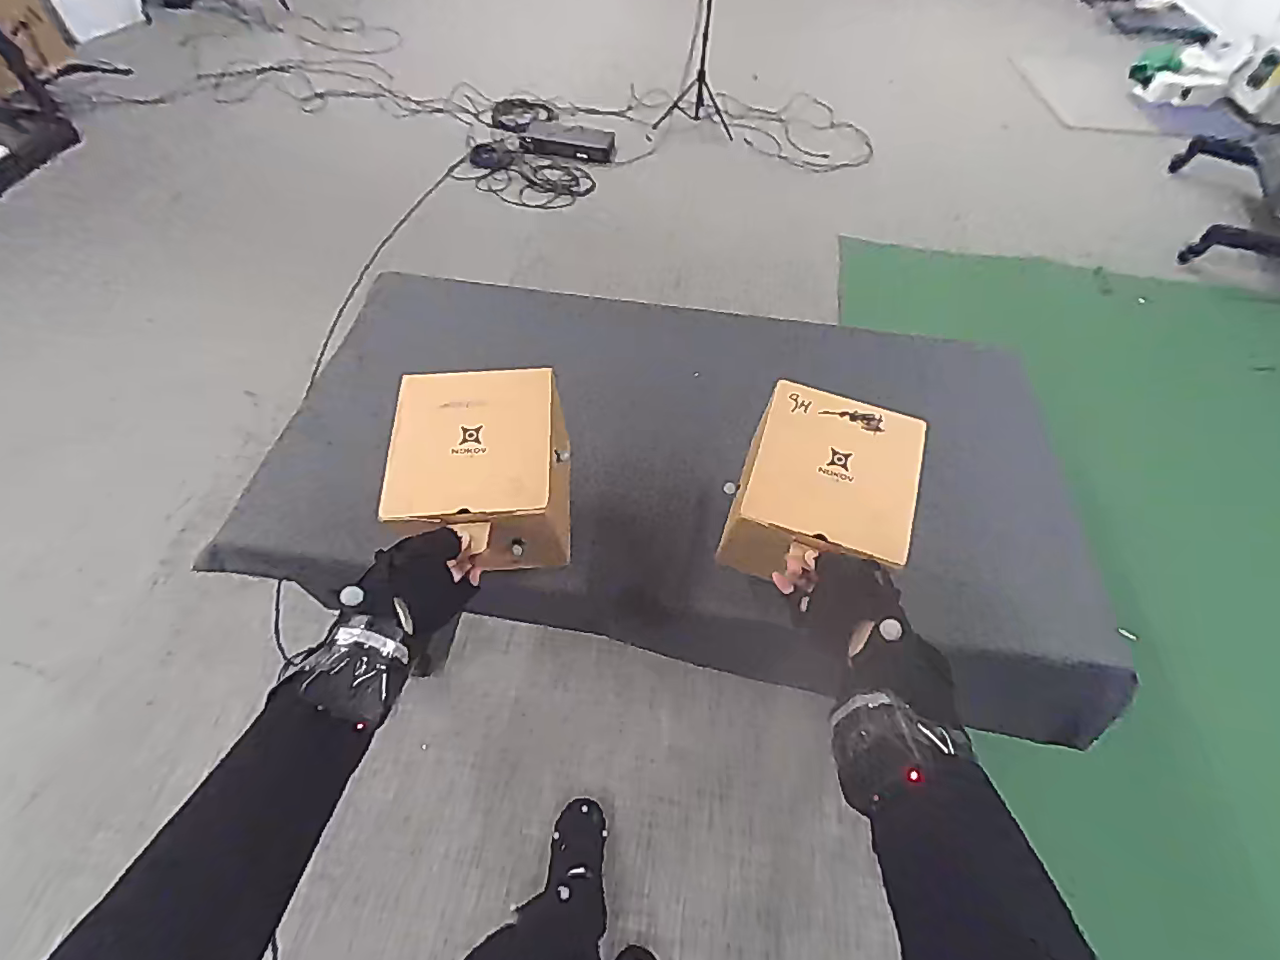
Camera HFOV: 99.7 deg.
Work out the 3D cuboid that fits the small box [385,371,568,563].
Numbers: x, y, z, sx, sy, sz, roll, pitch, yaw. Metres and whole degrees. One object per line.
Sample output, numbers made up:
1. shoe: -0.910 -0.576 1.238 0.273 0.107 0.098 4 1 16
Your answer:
1. small box: -0.175 -0.006 0.641 0.168 0.176 0.179 -3 61 -3
